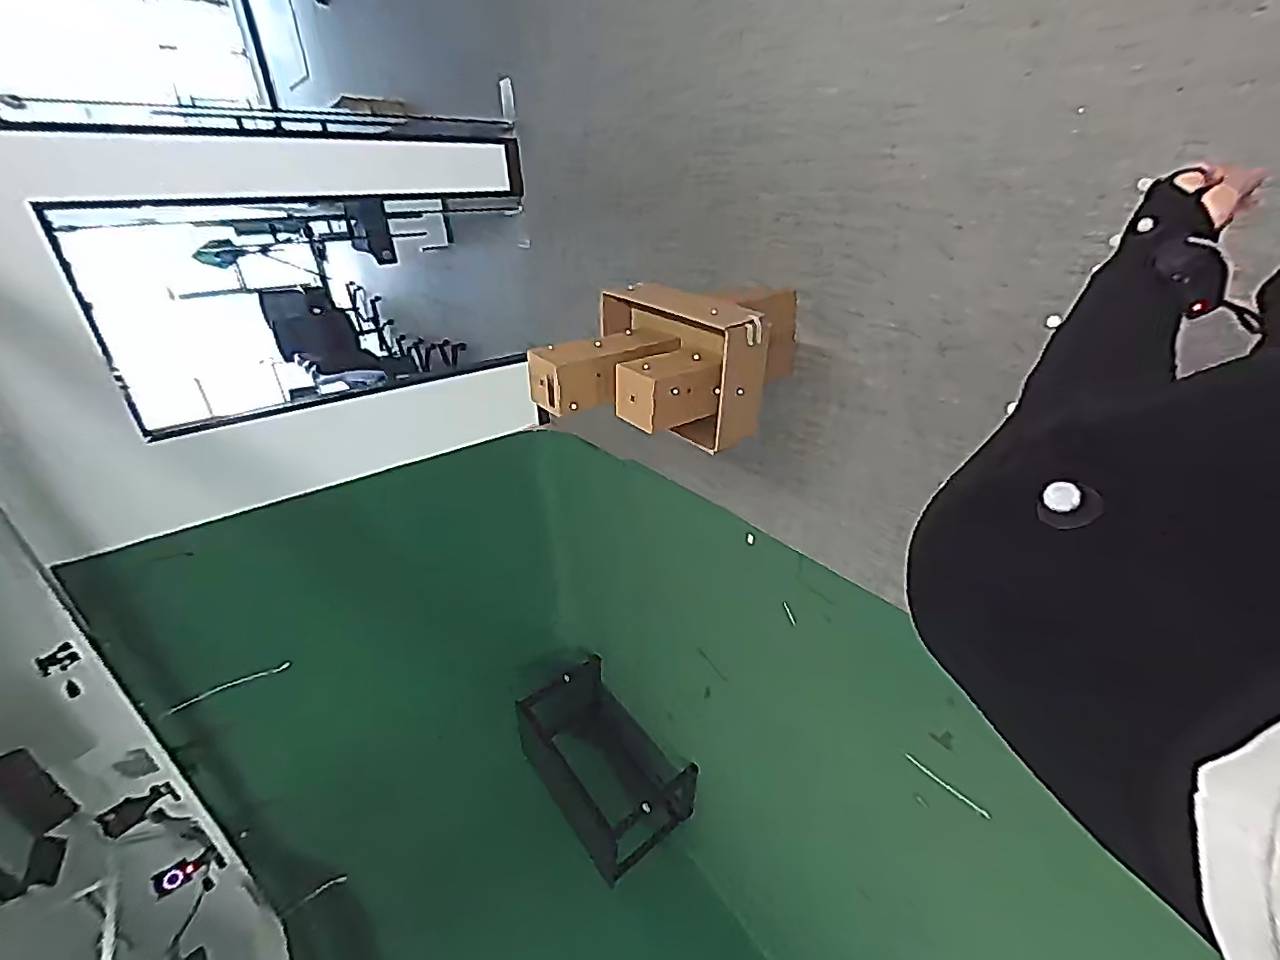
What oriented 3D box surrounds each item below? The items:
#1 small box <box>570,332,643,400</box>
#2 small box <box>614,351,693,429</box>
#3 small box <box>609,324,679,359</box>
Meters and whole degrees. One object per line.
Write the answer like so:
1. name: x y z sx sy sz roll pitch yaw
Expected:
1. small box: -0.112 -0.381 1.775 0.179 0.176 0.168 31 131 41
2. small box: 0.040 -0.275 1.609 0.179 0.176 0.168 34 133 42
3. small box: 0.011 -0.434 1.867 0.179 0.176 0.168 32 133 41
